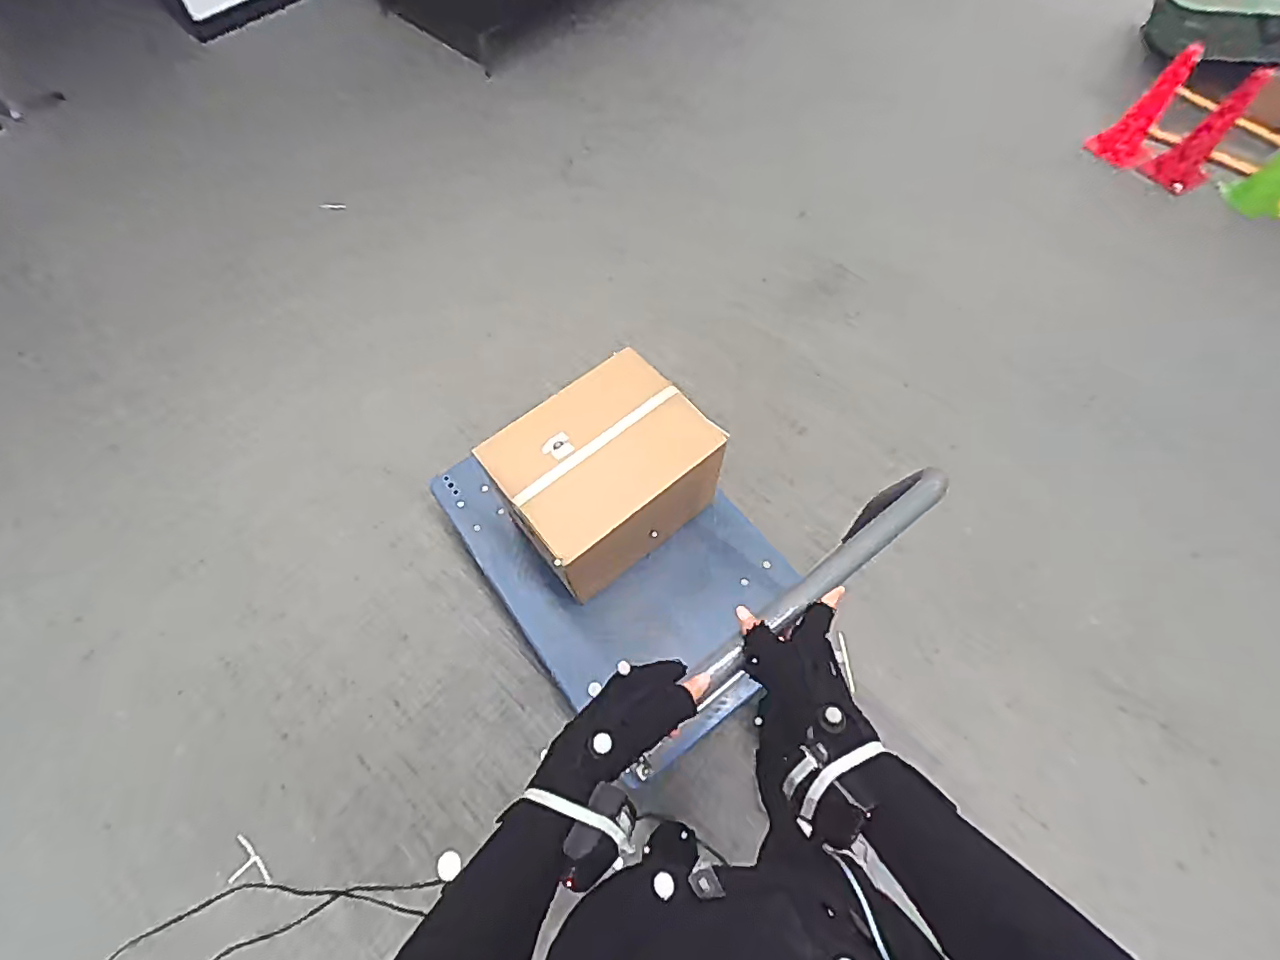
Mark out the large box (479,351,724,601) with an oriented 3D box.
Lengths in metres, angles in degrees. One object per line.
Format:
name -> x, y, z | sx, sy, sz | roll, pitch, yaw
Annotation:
large box -> -0.071, 0.000, 1.206 | 0.408, 0.320, 0.320 | -38, 68, -14
